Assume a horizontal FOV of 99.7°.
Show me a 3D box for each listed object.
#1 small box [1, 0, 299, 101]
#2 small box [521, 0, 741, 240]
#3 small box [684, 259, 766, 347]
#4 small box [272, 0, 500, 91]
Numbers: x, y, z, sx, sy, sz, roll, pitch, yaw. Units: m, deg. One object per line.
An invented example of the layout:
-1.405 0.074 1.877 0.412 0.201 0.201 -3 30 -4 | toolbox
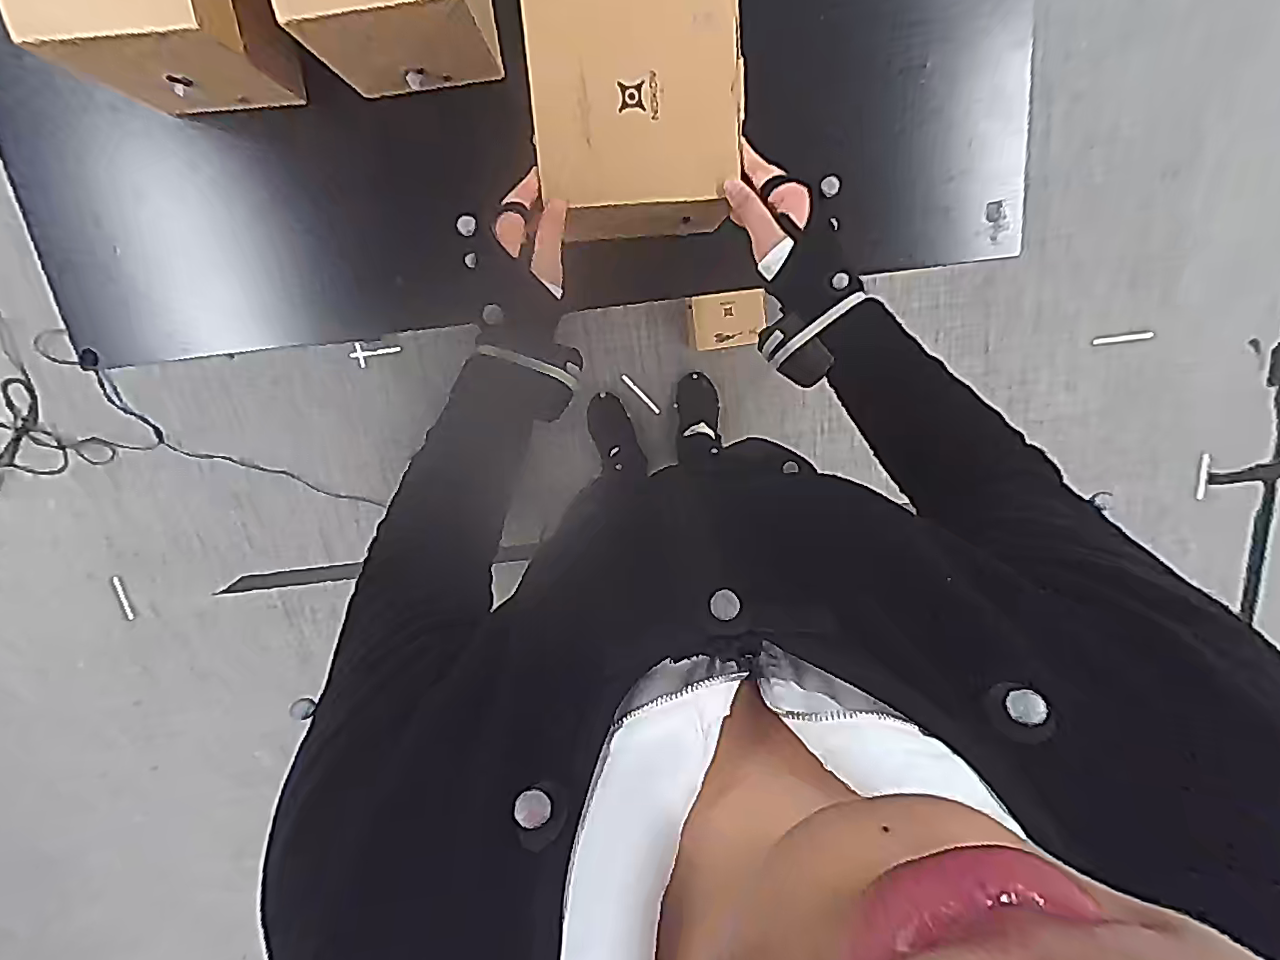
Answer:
-0.470 -0.494 0.524 0.168 0.176 0.179 -4 105 0 | small box
-0.006 -0.340 0.526 0.179 0.176 0.168 -4 103 1 | small box
0.200 -0.421 1.306 0.168 0.176 0.179 -7 105 3 | small box
-0.247 -0.516 0.520 0.168 0.176 0.179 -7 107 2 | small box
